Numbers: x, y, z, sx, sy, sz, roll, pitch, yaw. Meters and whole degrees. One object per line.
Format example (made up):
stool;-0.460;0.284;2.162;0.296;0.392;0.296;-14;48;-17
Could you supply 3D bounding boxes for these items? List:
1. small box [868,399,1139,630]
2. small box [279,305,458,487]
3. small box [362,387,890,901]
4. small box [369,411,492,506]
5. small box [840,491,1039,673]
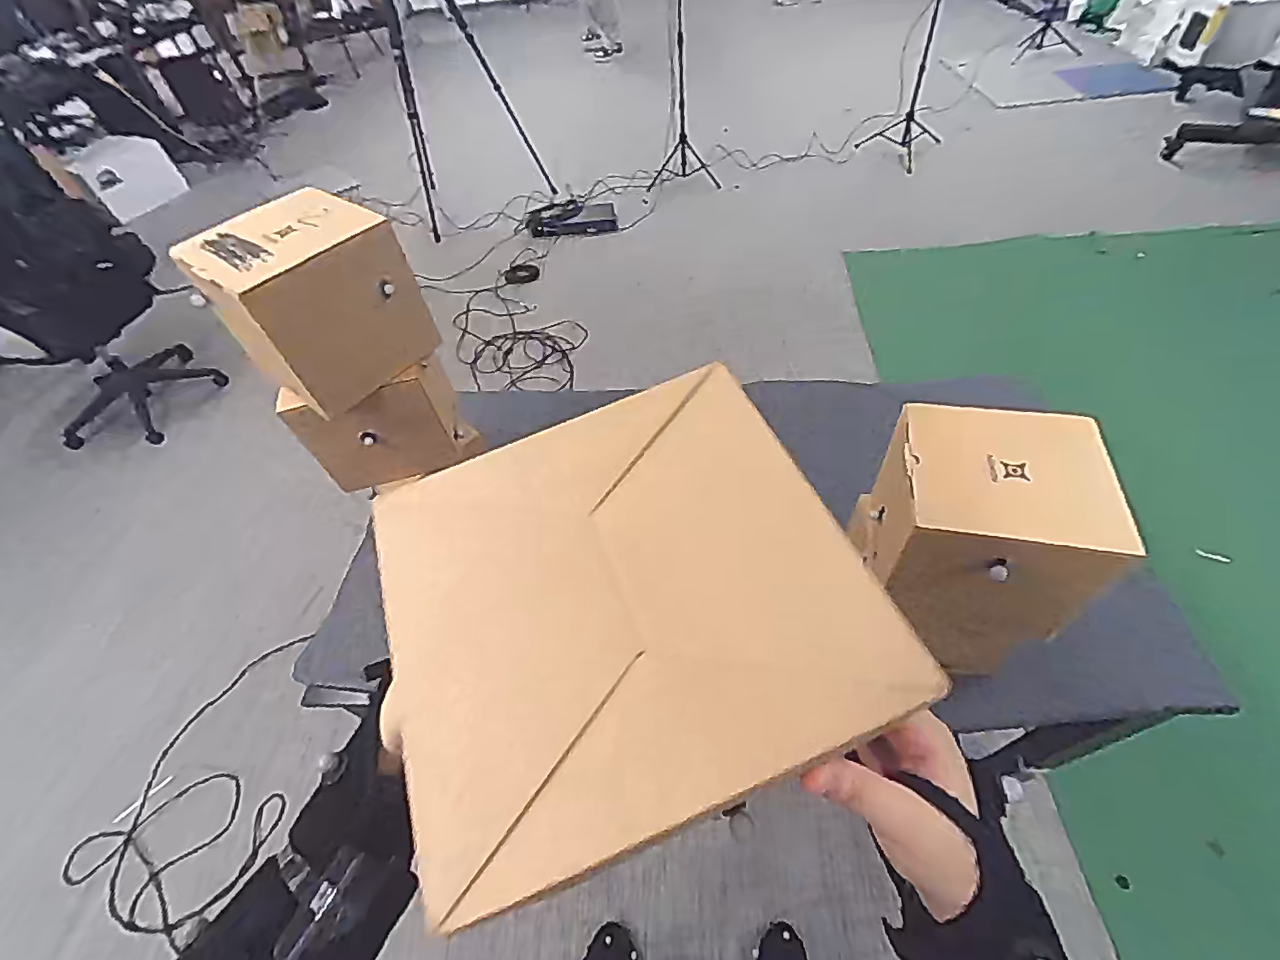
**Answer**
small box;0.349;0.039;0.564;0.179;0.176;0.168;7;52;14
small box;-0.372;-0.116;0.777;0.179;0.176;0.168;-16;52;-5
small box;-0.004;0.079;0.277;0.179;0.176;0.168;-25;58;-3
small box;-0.356;-0.018;0.908;0.179;0.176;0.168;34;63;28
small box;0.367;0.131;0.698;0.168;0.176;0.179;-2;51;7
